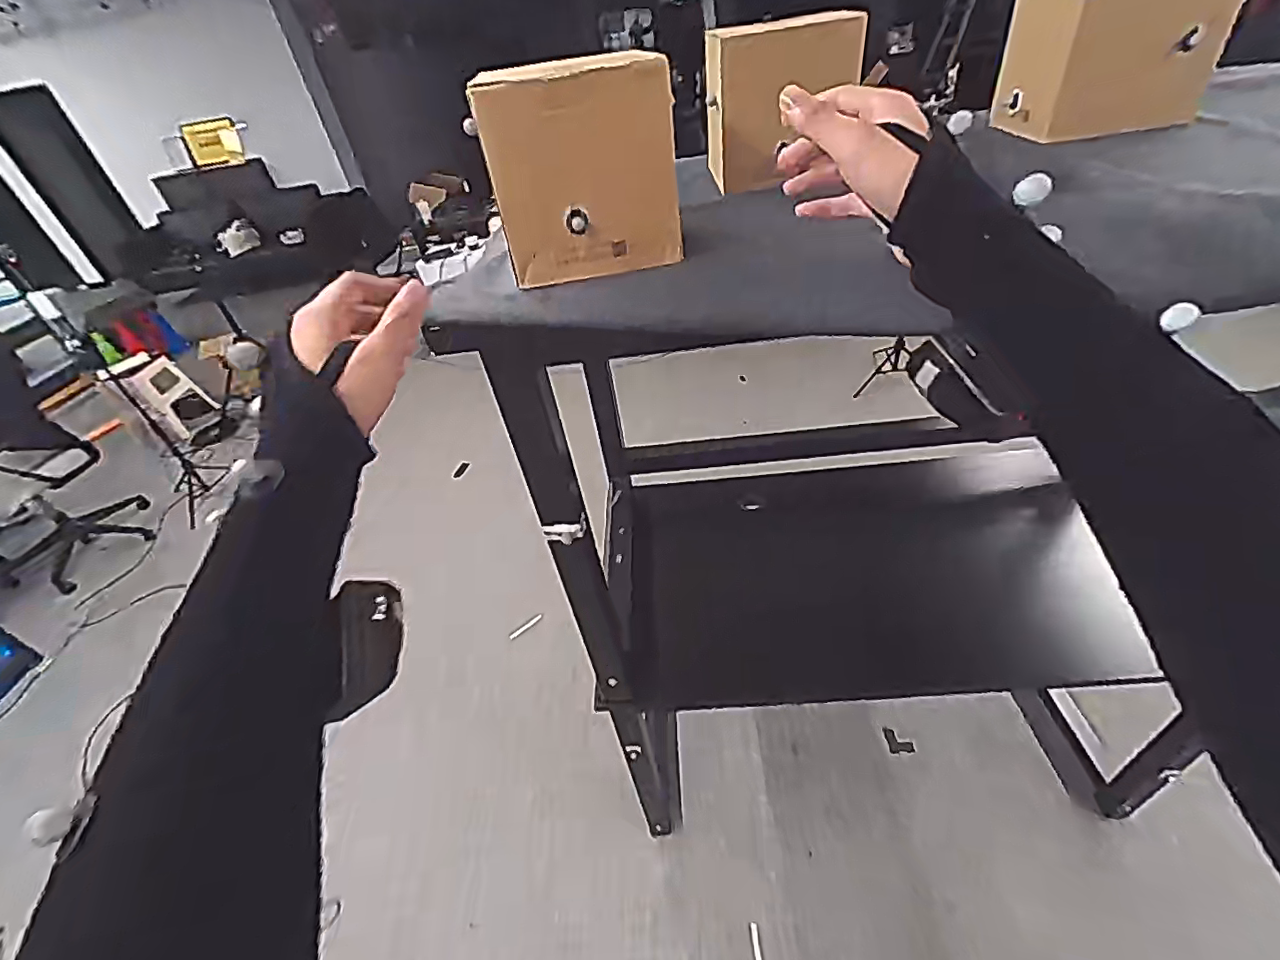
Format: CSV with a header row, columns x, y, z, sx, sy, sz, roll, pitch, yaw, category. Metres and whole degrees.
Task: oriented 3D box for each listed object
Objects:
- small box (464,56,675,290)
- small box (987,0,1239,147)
x,y,z,sx,sy,sz,roll,pitch,yaw,category
-0.064,-0.311,0.548,0.168,0.176,0.179,-11,40,-3,small box
0.592,-0.548,0.696,0.179,0.176,0.168,-4,39,6,small box
